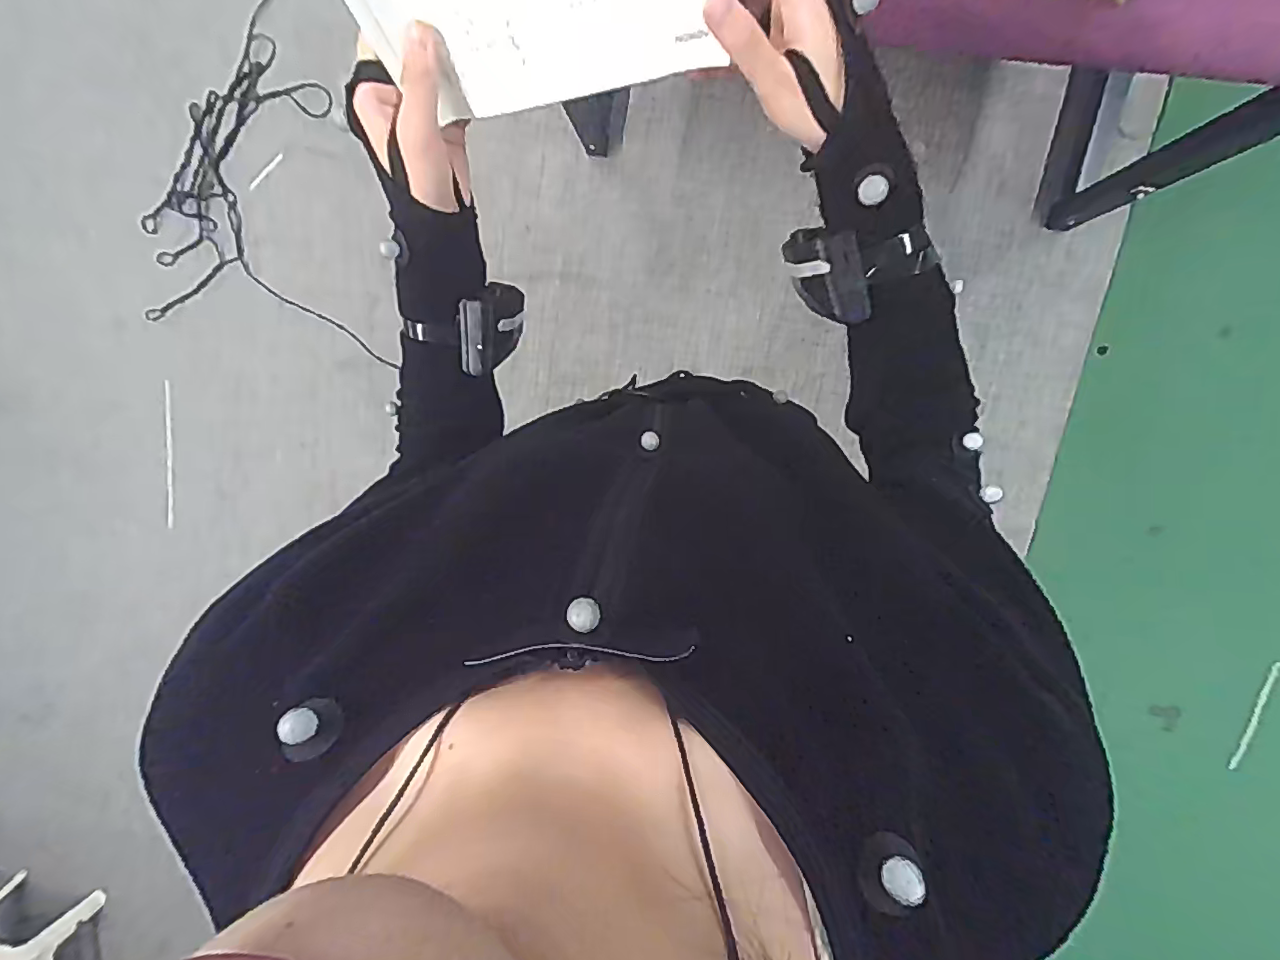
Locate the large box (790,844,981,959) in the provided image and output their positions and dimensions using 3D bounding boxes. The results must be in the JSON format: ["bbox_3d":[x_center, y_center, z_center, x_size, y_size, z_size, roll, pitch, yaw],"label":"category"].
[{"bbox_3d":[0.648,1.257,1.487,0.408,0.320,0.320,-4,99,6],"label":"large box"}]
